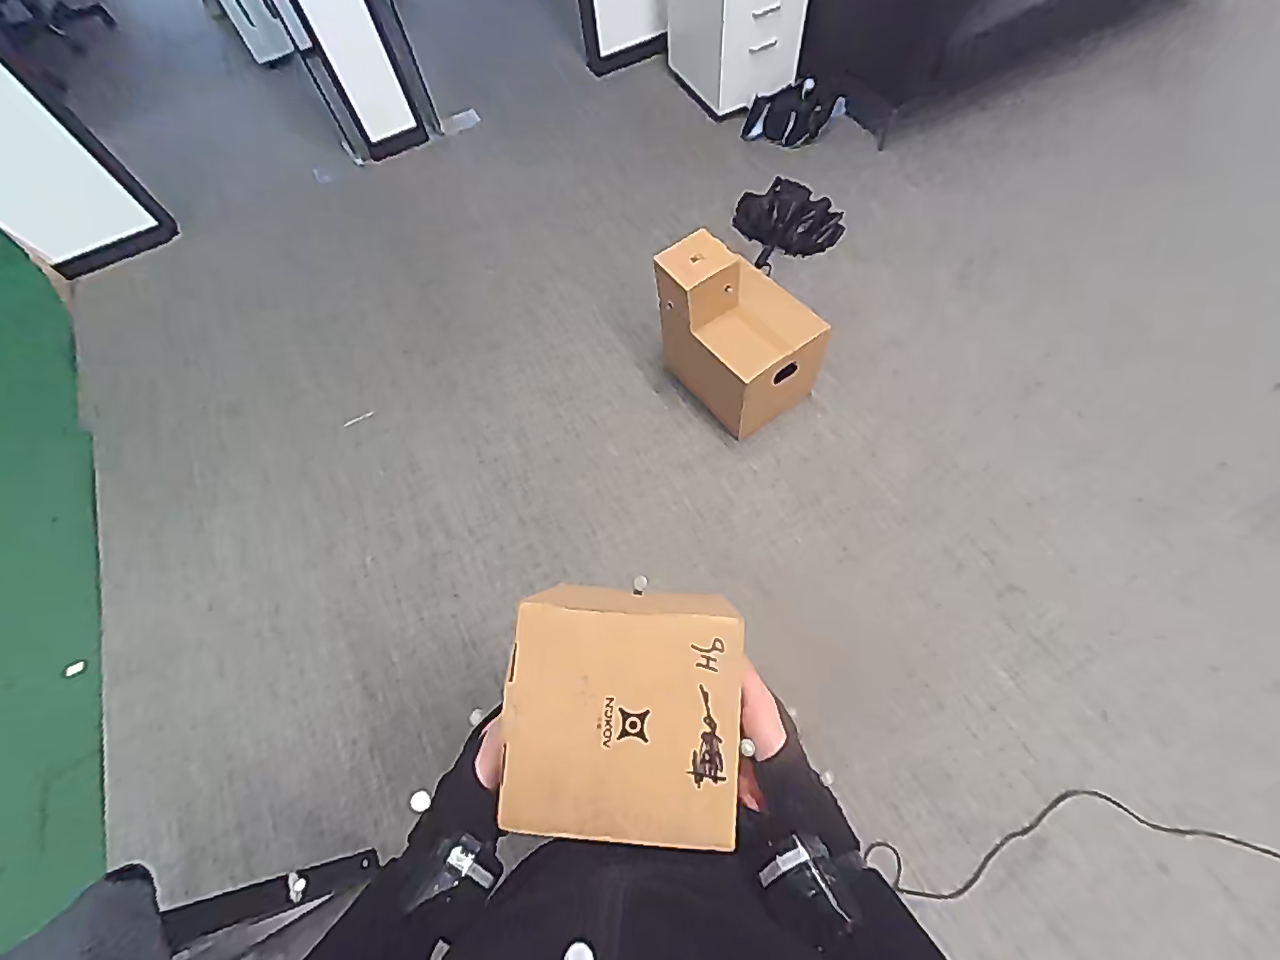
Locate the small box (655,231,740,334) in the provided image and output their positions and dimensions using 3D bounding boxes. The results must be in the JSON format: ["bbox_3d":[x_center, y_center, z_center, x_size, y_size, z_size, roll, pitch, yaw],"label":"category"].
[{"bbox_3d":[0.163,-0.554,1.529,0.179,0.176,0.168,-34,64,-7],"label":"small box"}]
